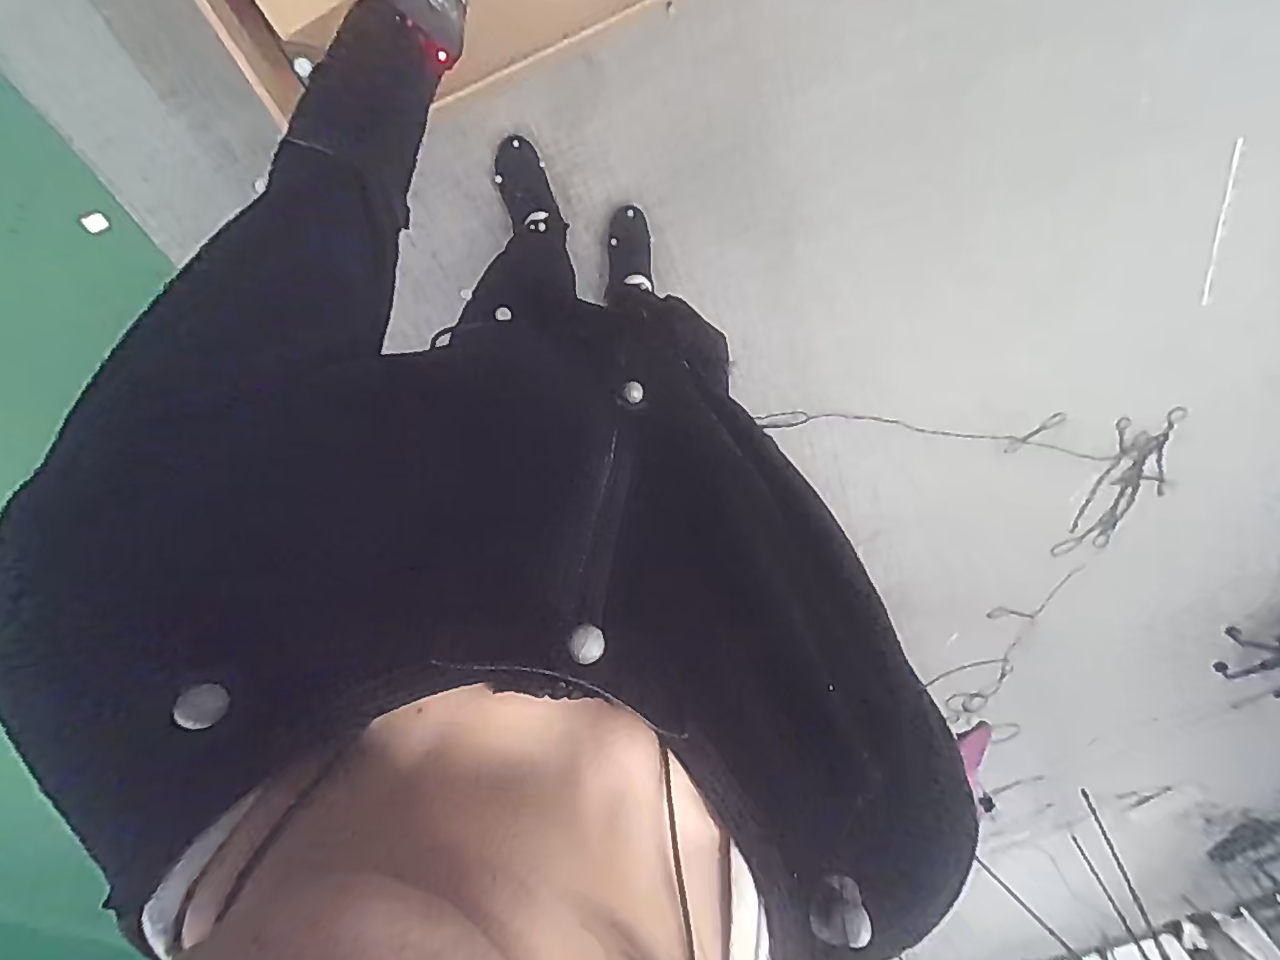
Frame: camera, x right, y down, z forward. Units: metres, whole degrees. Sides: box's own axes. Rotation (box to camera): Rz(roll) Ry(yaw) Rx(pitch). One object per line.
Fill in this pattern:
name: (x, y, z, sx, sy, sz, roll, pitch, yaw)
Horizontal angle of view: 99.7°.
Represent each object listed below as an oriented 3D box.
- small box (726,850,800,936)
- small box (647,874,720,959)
small box: (0.398, 1.343, 1.762, 0.168, 0.176, 0.179, -26, 125, 7)
small box: (0.140, 1.428, 1.772, 0.179, 0.176, 0.168, -21, 127, 4)
